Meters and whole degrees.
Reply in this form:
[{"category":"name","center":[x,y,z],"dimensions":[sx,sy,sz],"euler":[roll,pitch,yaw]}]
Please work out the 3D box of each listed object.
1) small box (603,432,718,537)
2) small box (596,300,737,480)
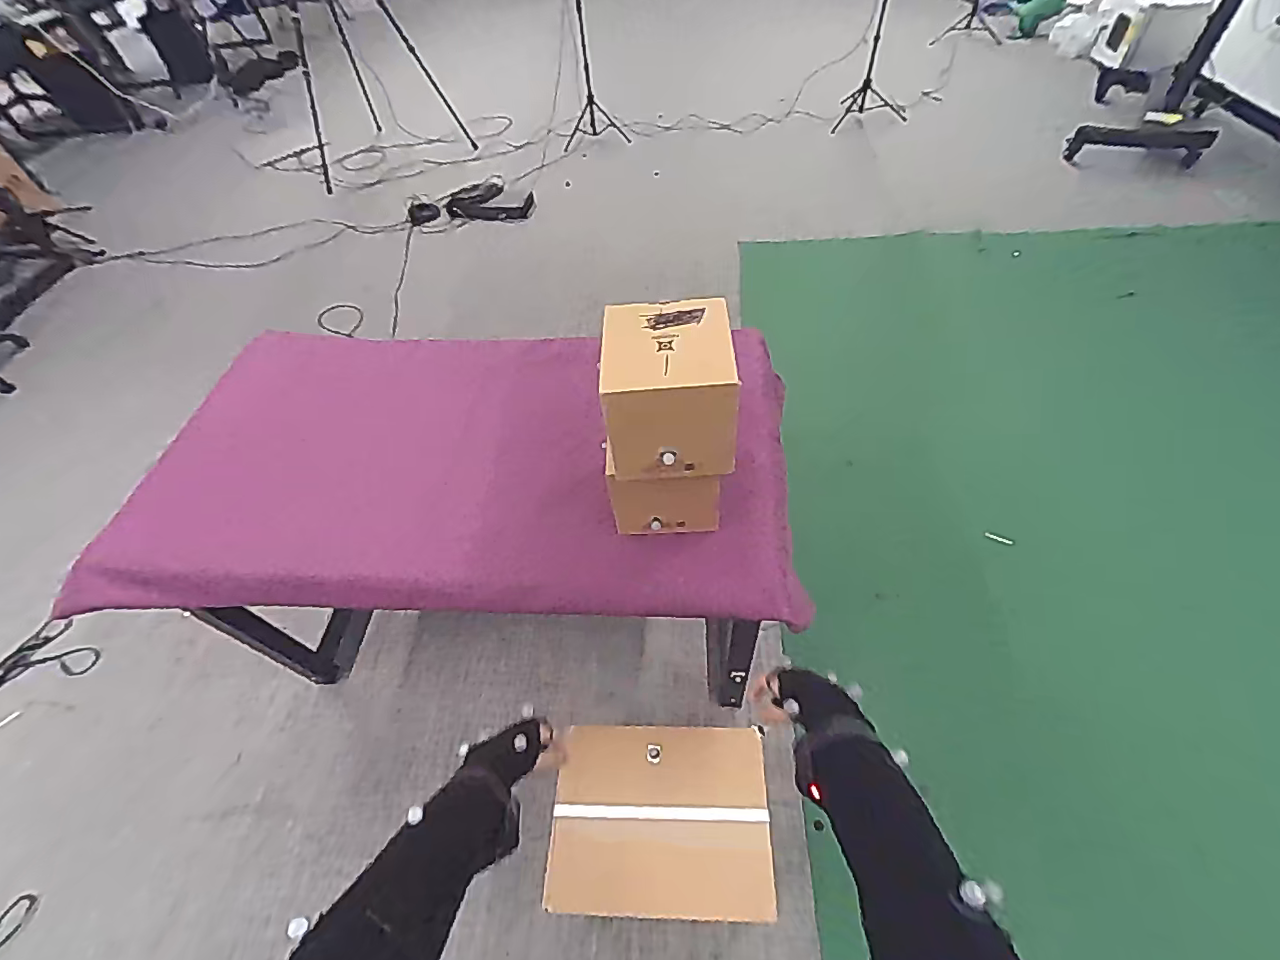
[{"category":"small box","center":[0.036,-0.027,0.874],"dimensions":[0.168,0.176,0.179],"euler":[-3,51,5]},{"category":"small box","center":[0.038,-0.120,0.738],"dimensions":[0.168,0.176,0.179],"euler":[-3,51,5]}]
